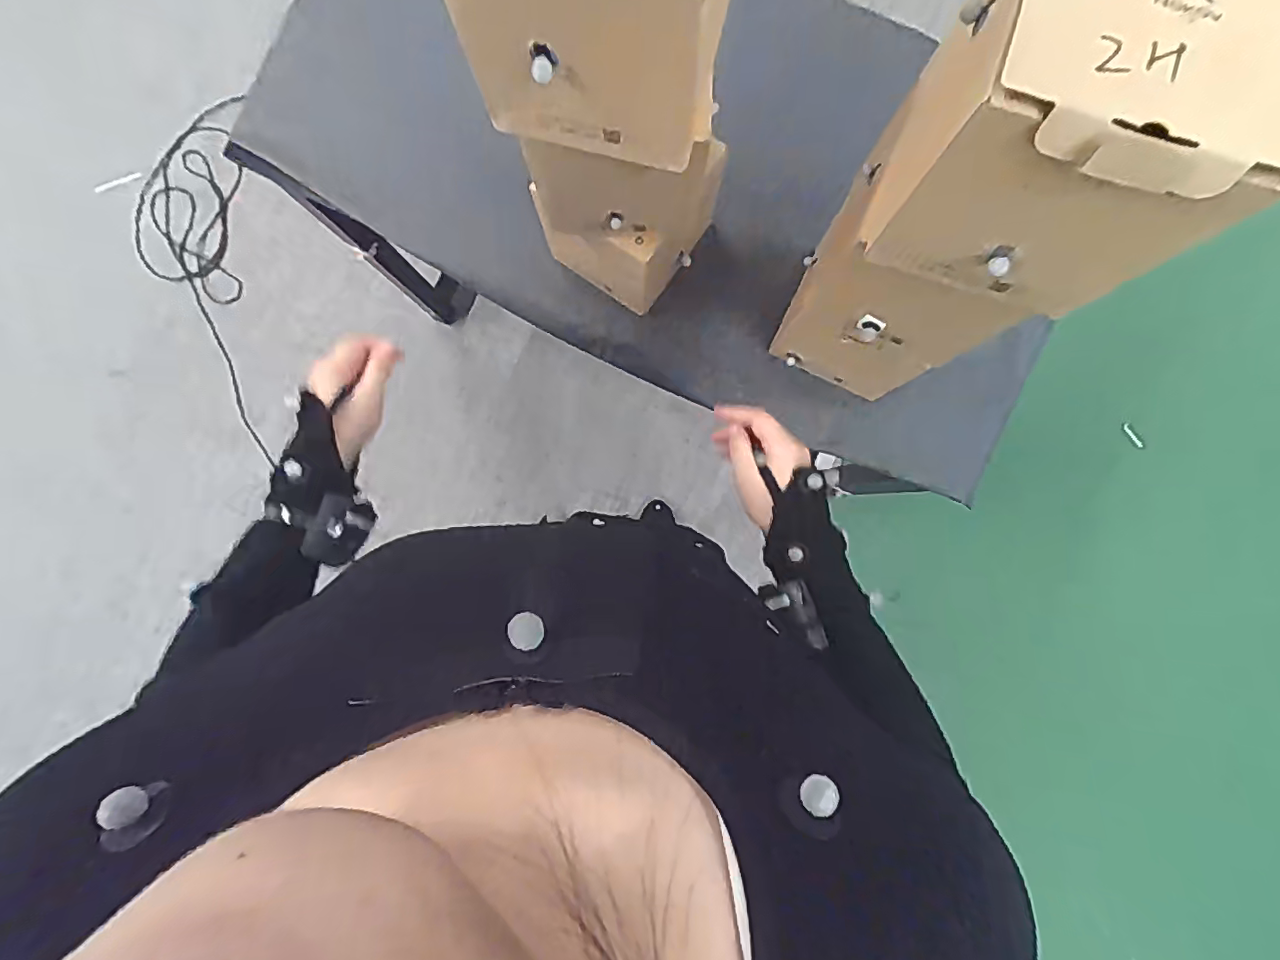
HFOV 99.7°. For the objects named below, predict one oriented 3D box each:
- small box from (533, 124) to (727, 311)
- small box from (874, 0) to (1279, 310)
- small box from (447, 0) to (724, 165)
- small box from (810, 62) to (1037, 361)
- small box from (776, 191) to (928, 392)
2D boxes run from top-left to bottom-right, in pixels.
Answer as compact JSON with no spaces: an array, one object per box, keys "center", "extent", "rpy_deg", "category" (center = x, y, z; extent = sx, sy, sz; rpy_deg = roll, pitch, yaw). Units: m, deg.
[{"center":[-0.014,-0.358,0.705],"extent":[0.168,0.176,0.179],"rpy_deg":[34,86,2],"category":"small box"},{"center":[0.286,-0.248,0.366],"extent":[0.168,0.176,0.179],"rpy_deg":[19,86,3],"category":"small box"},{"center":[-0.025,-0.361,0.377],"extent":[0.168,0.176,0.179],"rpy_deg":[13,87,1],"category":"small box"},{"center":[0.288,-0.244,0.532],"extent":[0.168,0.176,0.179],"rpy_deg":[22,87,3],"category":"small box"},{"center":[0.291,-0.234,0.694],"extent":[0.168,0.176,0.179],"rpy_deg":[26,85,2],"category":"small box"}]
